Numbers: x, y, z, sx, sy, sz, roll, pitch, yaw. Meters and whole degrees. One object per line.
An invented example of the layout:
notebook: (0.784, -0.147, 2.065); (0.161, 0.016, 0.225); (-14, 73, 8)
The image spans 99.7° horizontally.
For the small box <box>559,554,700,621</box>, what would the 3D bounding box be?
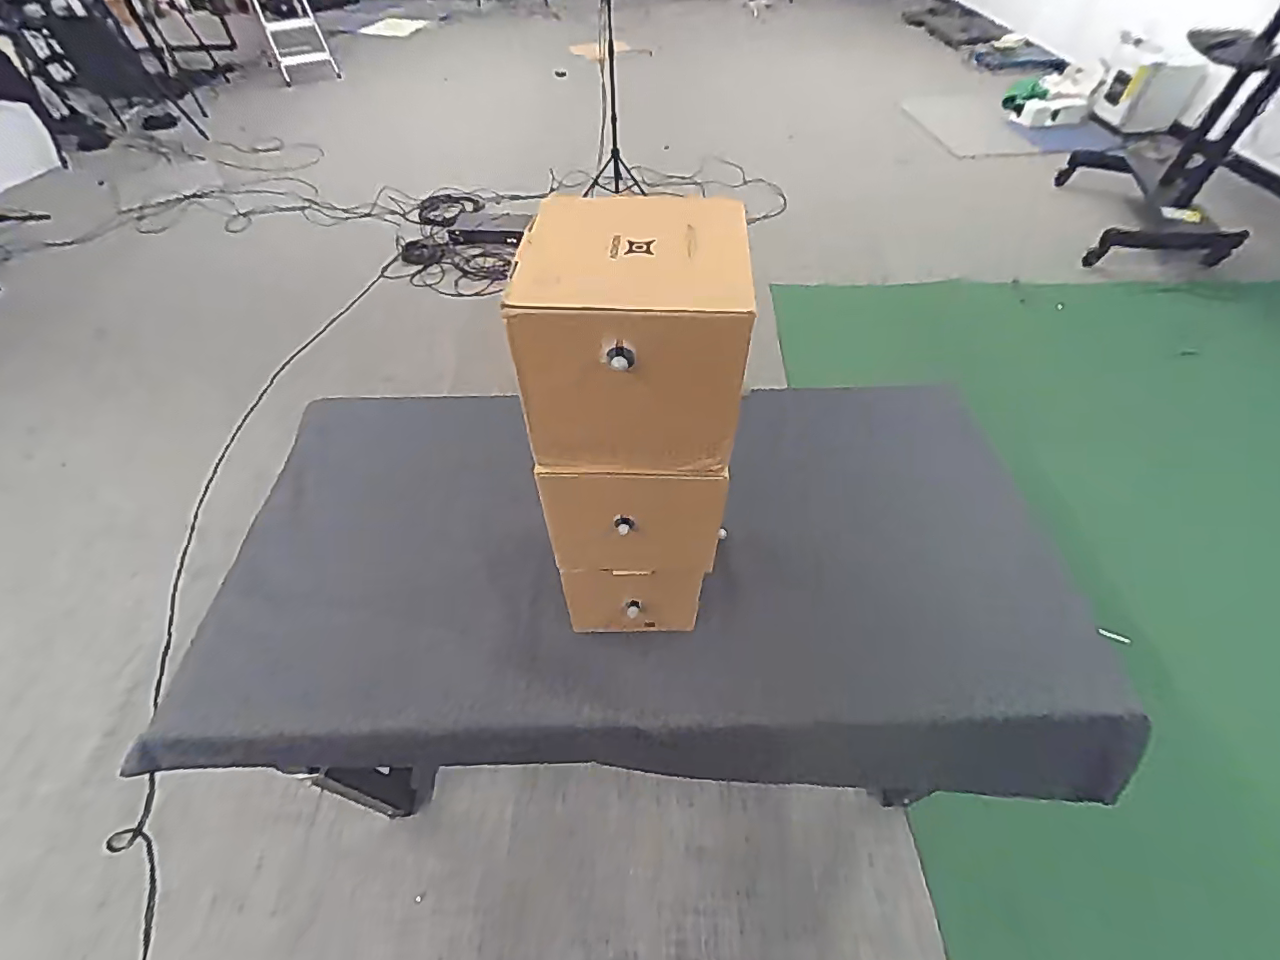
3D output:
small box: (-0.009, 0.081, 0.727); (0.168, 0.176, 0.179); (-2, 51, 0)

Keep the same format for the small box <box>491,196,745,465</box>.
small box: (-0.010, -0.126, 0.474); (0.179, 0.176, 0.168); (2, 52, 2)

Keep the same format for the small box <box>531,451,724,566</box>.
small box: (-0.007, -0.017, 0.594); (0.179, 0.176, 0.168); (0, 50, 3)
